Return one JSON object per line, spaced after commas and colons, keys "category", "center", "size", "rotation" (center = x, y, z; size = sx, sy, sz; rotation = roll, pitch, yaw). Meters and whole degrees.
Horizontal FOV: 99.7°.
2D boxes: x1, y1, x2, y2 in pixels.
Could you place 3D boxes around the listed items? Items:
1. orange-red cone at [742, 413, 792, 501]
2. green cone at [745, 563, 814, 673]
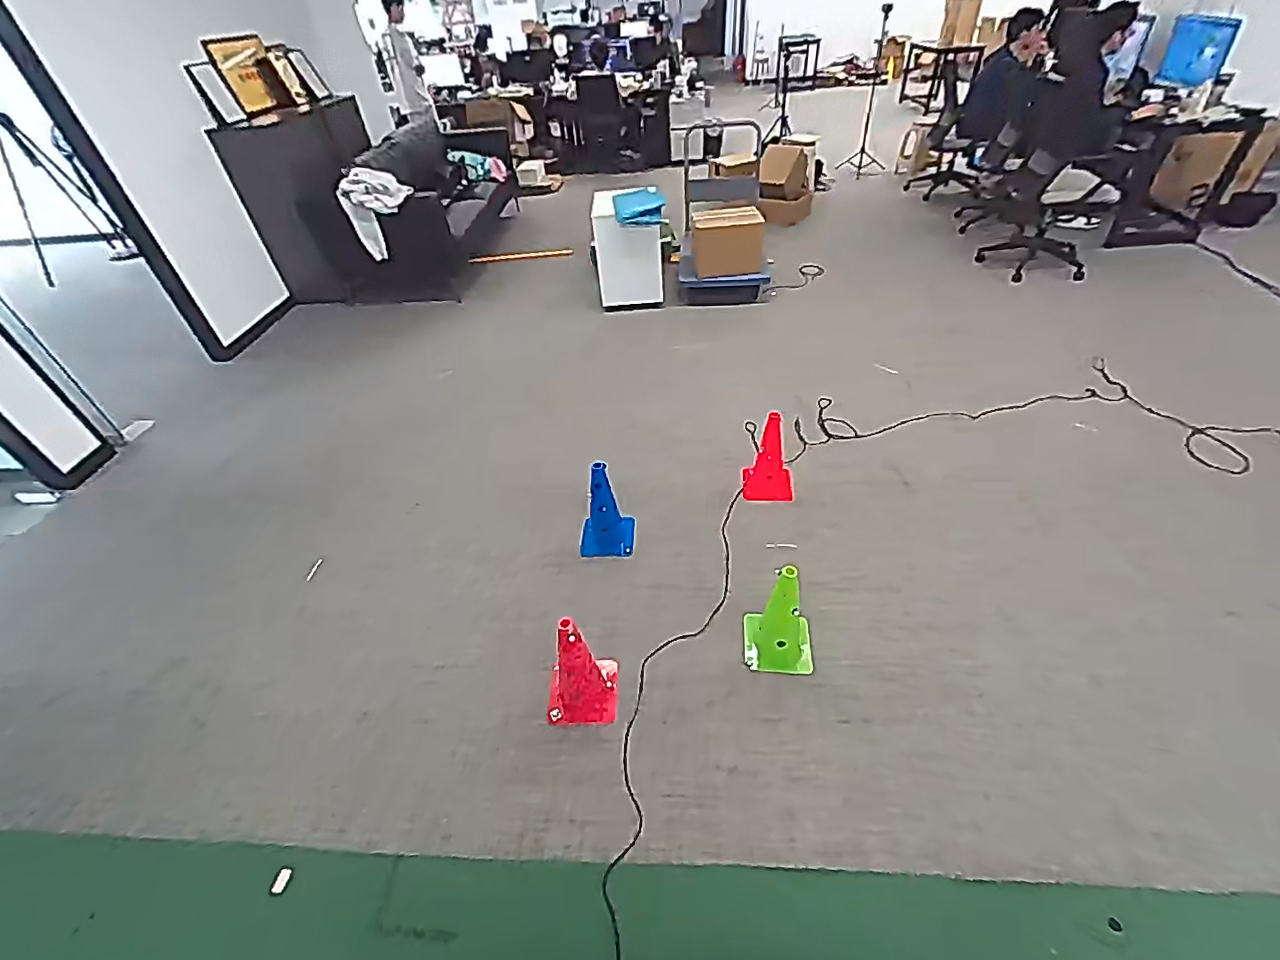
{"category": "orange-red cone", "center": [0.507, -0.107, 2.111], "size": [0.198, 0.360, 0.199], "rotation": [2, 43, 9]}
{"category": "green cone", "center": [0.419, 0.376, 1.569], "size": [0.200, 0.368, 0.202], "rotation": [1, 41, 7]}
